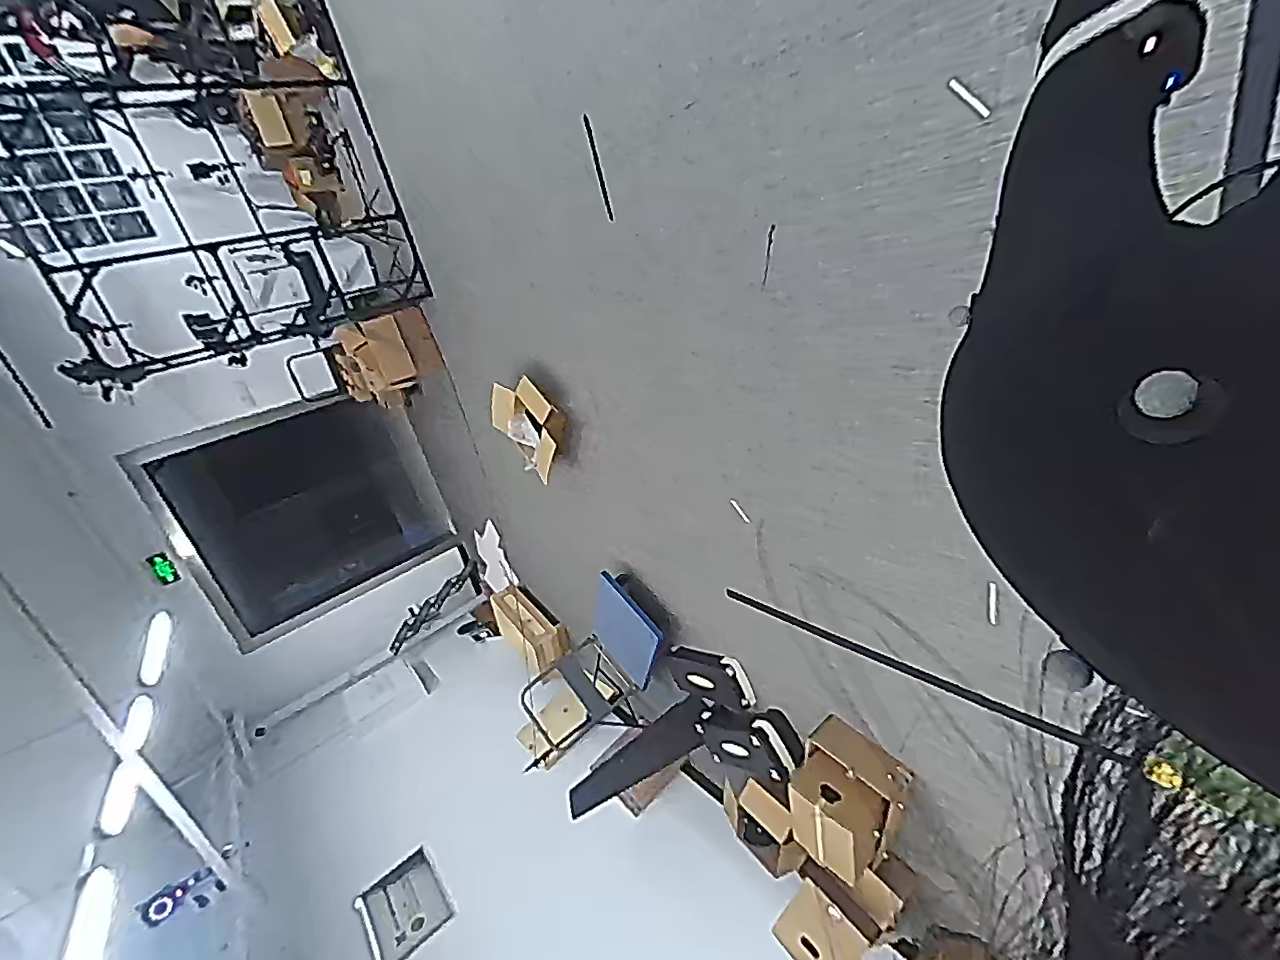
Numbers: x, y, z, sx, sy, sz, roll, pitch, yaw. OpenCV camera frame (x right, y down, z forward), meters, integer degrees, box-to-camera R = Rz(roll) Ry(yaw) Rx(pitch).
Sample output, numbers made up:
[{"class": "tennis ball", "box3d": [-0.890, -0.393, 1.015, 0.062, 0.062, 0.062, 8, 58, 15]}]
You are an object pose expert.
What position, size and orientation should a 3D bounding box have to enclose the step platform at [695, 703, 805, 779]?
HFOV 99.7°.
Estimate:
[{"class": "step platform", "box3d": [0.589, 1.453, 3.033, 0.286, 0.204, 0.684, 60, 148, 3]}]
